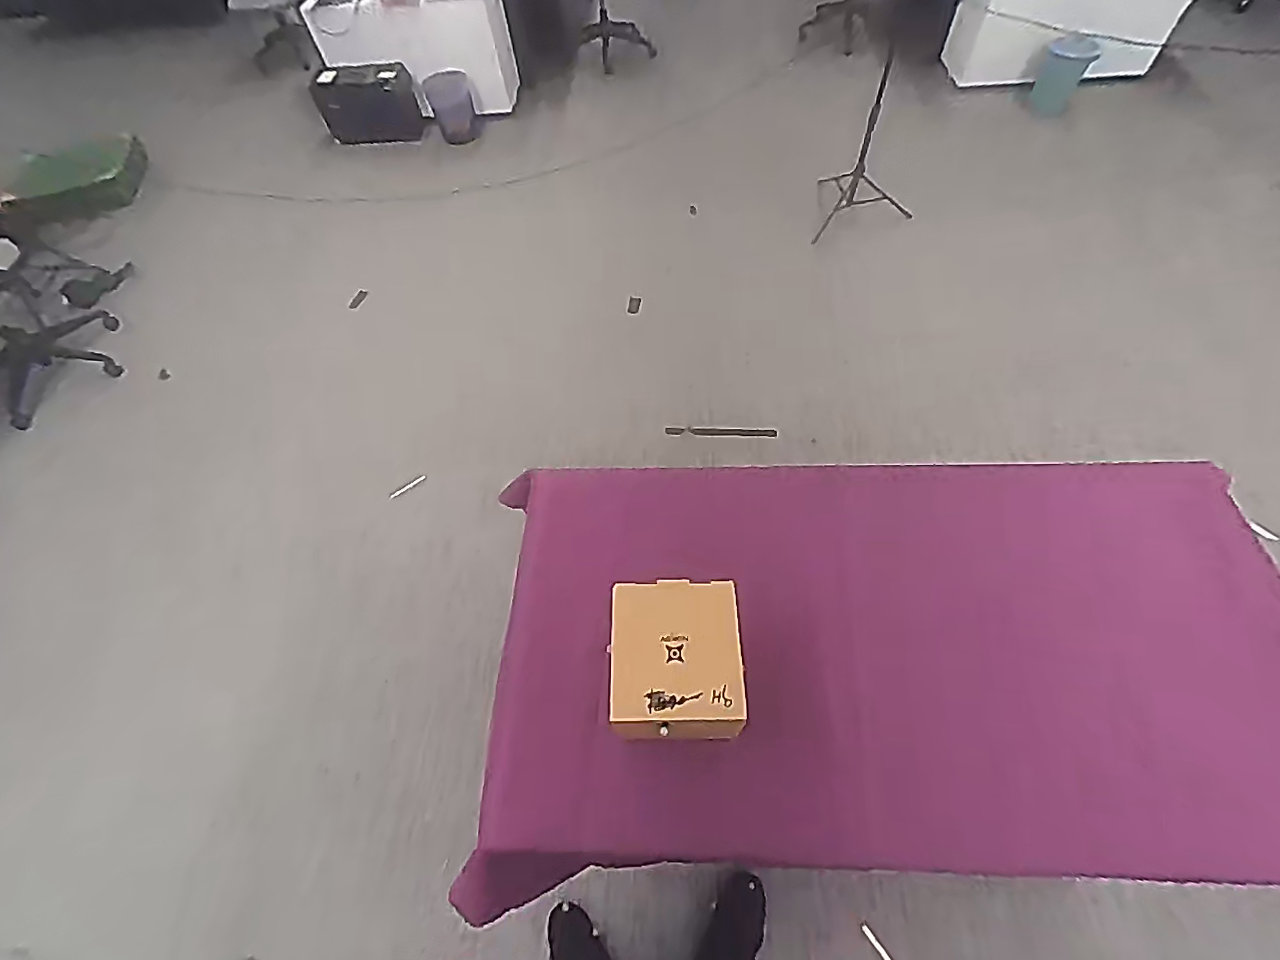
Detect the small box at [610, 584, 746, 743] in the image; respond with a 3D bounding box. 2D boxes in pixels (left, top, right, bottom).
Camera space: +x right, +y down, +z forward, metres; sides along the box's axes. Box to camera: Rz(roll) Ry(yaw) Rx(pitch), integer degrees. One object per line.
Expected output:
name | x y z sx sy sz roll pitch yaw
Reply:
small box | 0.051 0.258 0.753 0.168 0.176 0.179 -1 57 4
